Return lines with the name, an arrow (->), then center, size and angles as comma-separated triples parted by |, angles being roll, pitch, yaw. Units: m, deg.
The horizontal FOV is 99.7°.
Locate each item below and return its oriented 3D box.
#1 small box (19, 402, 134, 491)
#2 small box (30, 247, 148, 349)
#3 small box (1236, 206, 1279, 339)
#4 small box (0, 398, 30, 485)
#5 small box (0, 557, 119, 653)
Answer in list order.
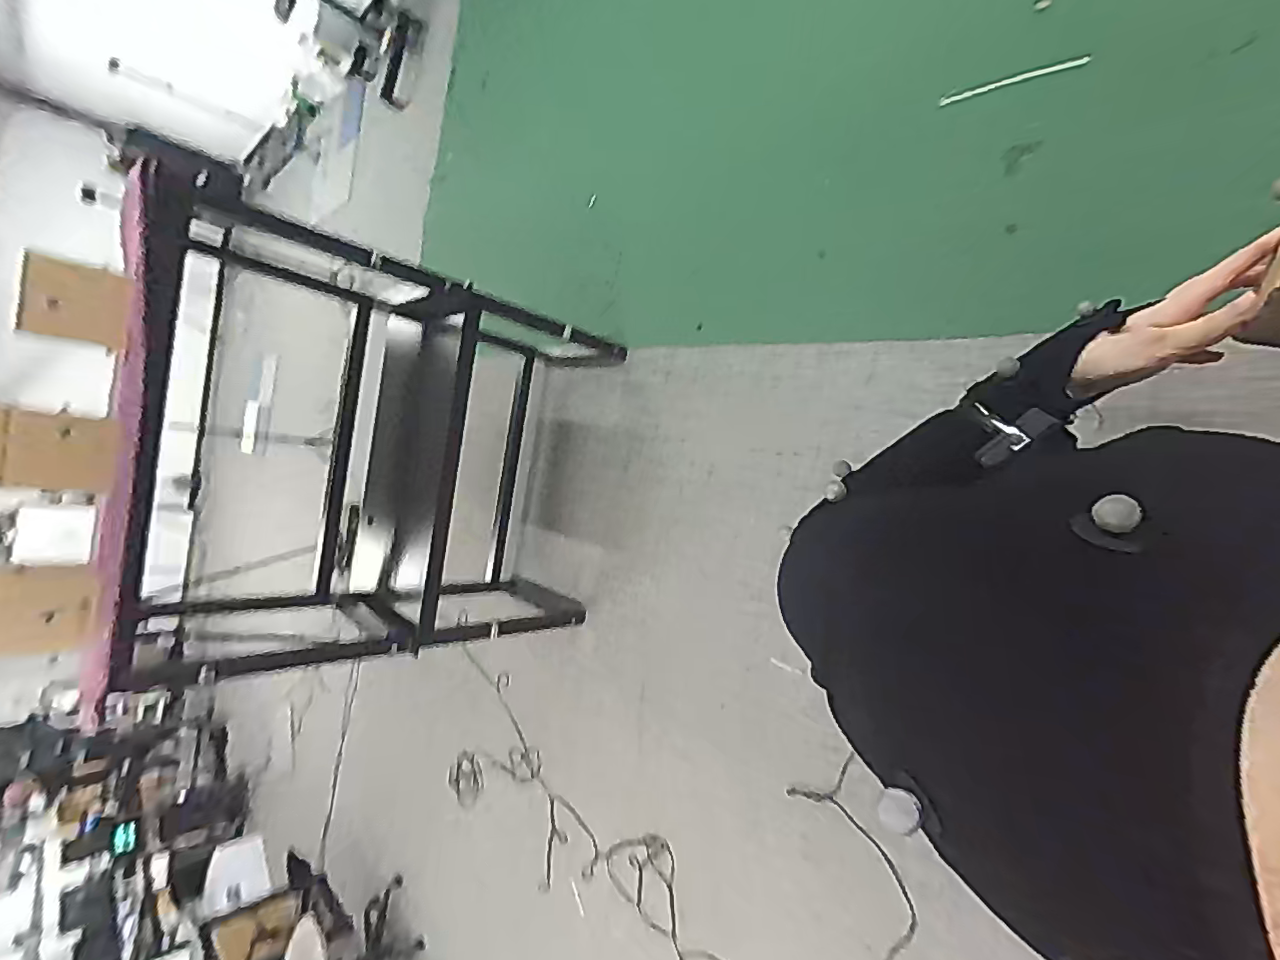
small box -> -1.255, -0.075, 1.213 | 0.168, 0.176, 0.179 | 8, 93, 44
small box -> -1.230, -0.397, 1.215 | 0.168, 0.176, 0.179 | 13, 95, 45
small box -> 0.462, -0.157, 0.275 | 0.179, 0.176, 0.168 | 24, 108, 40
small box -> -1.371, -0.084, 1.097 | 0.168, 0.176, 0.179 | 6, 90, 44
small box -> -1.285, 0.266, 1.201 | 0.179, 0.176, 0.168 | 8, 90, 43
